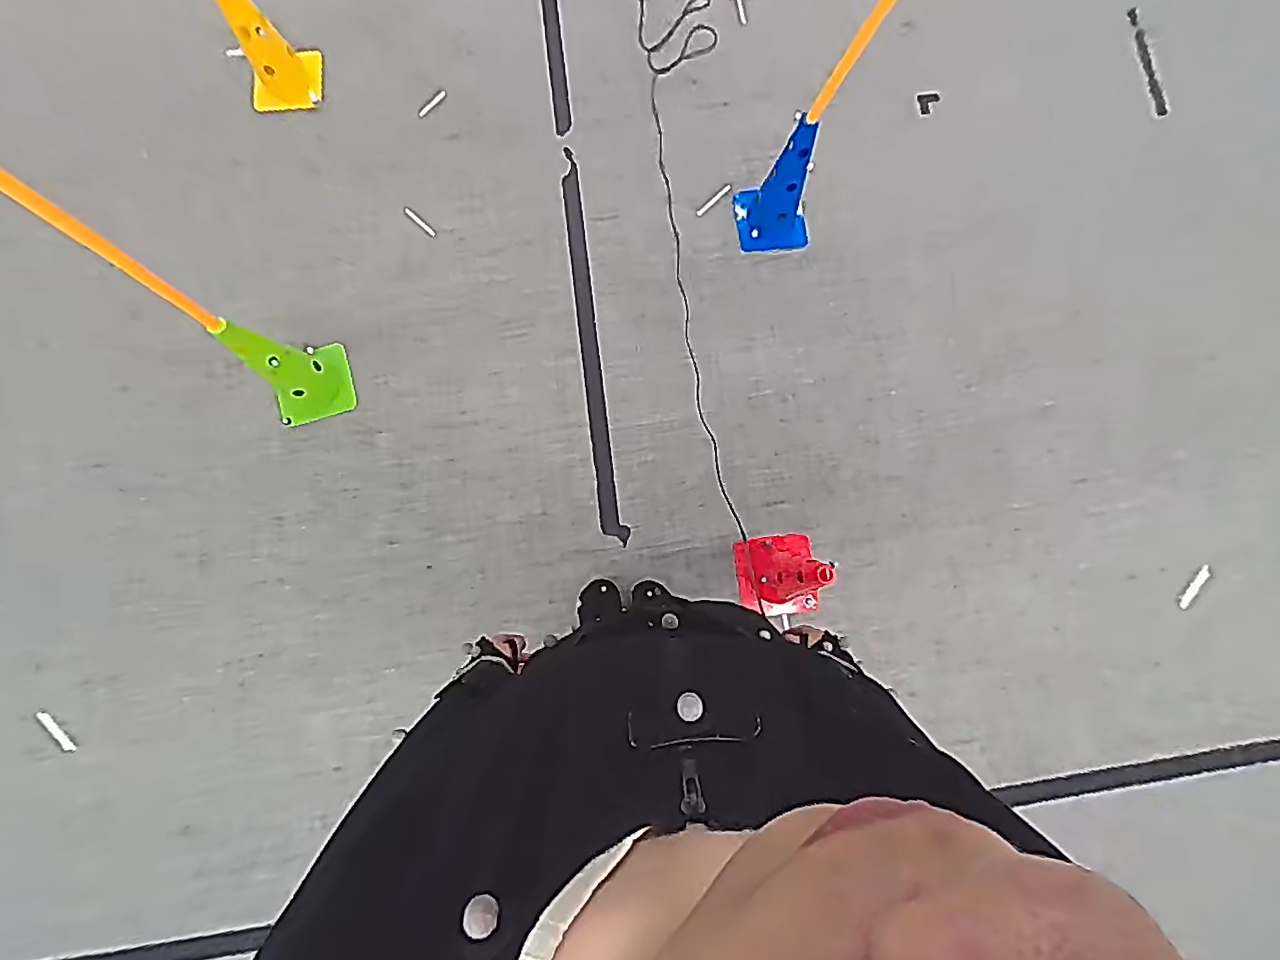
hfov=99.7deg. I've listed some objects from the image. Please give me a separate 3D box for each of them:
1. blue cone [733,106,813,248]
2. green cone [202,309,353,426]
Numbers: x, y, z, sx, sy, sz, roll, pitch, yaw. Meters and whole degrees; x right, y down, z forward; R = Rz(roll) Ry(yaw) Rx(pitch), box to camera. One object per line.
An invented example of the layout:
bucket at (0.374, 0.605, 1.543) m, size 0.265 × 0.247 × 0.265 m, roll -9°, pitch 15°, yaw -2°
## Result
blue cone at (0.378, -0.799, 1.420) m, size 0.193 × 0.380 × 0.192 m, roll -5°, pitch 79°, yaw -2°
green cone at (-0.884, -0.295, 1.291) m, size 0.200 × 0.368 × 0.202 m, roll -18°, pitch 78°, yaw -5°
